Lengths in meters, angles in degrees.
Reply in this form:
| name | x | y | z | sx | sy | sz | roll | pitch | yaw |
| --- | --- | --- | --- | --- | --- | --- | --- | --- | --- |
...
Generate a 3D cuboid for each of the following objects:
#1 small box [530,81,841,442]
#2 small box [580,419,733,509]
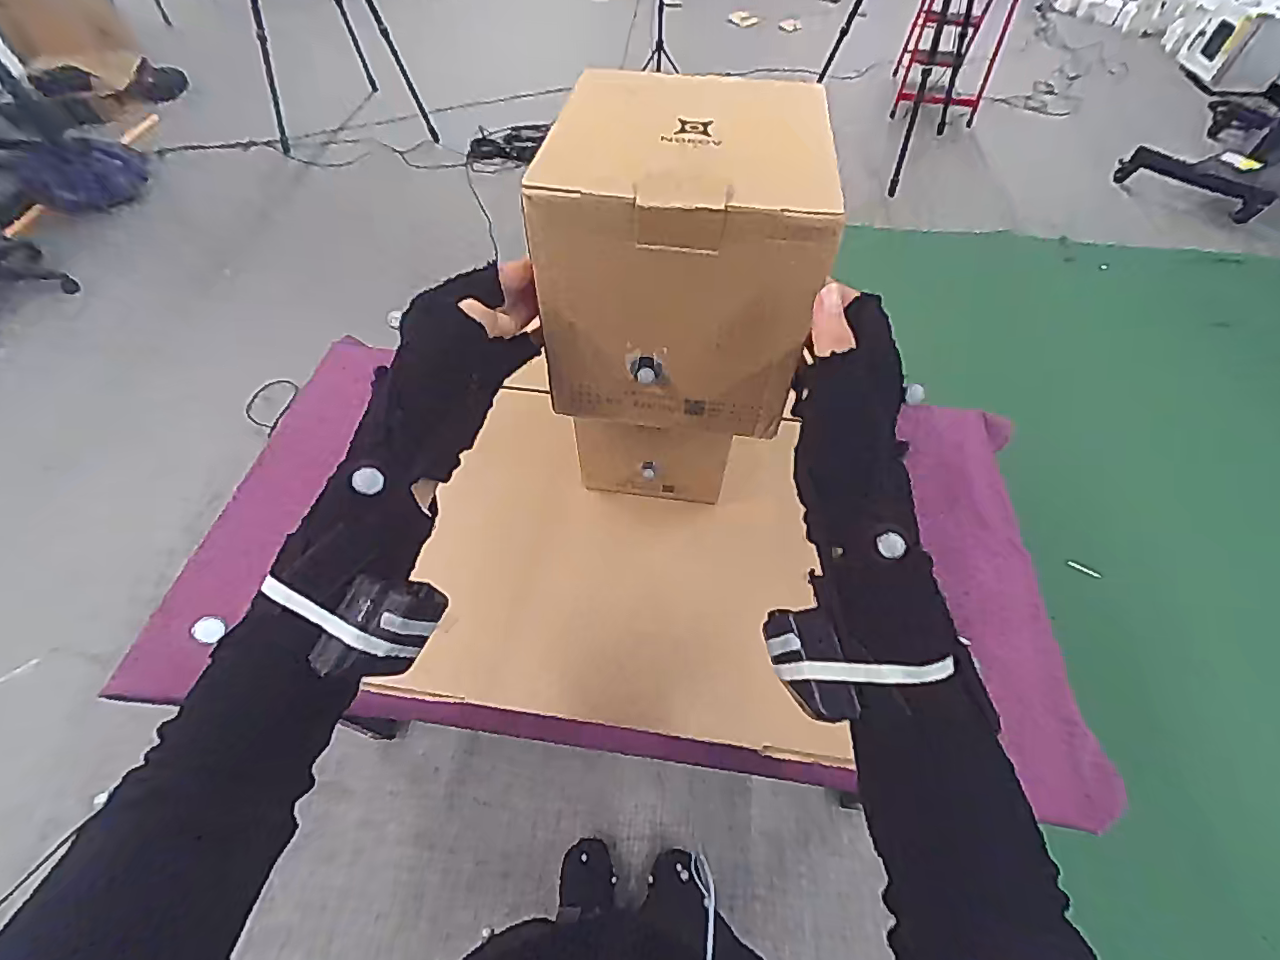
| name | x | y | z | sx | sy | sz | roll | pitch | yaw |
| --- | --- | --- | --- | --- | --- | --- | --- | --- | --- |
| small box | 0.031 | -0.153 | 0.390 | 0.168 | 0.176 | 0.179 | 7 | 54 | 4 |
| small box | 0.026 | -0.091 | 0.632 | 0.168 | 0.176 | 0.179 | 7 | 55 | 5 |
